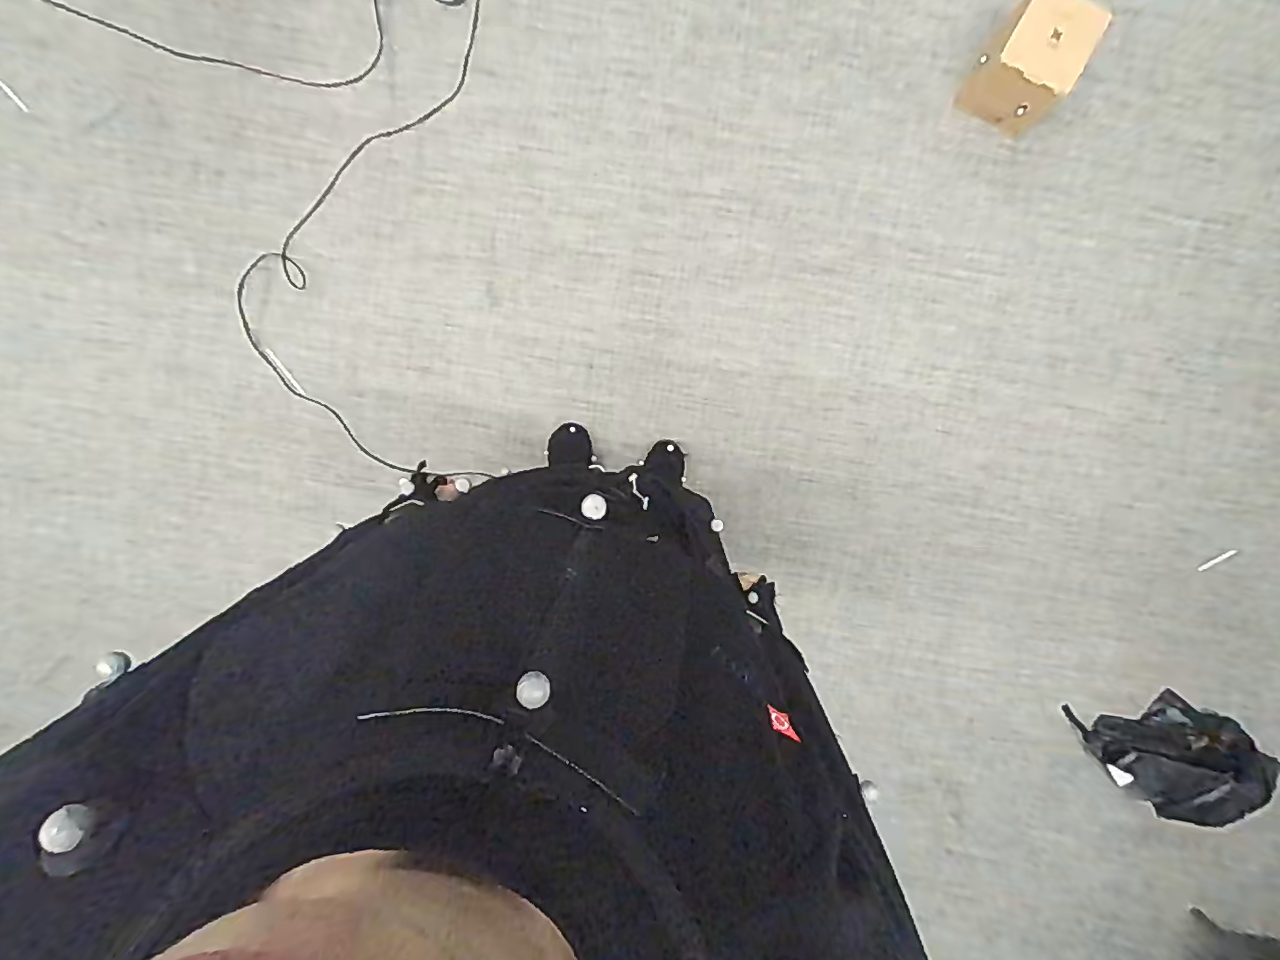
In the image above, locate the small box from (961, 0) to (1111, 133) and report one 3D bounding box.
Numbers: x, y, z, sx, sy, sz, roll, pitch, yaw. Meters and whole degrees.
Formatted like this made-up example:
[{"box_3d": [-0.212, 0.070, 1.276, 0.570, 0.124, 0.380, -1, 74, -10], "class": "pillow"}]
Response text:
[{"box_3d": [0.844, -0.906, 1.176, 0.168, 0.176, 0.179, 26, 96, -3], "class": "small box"}]
